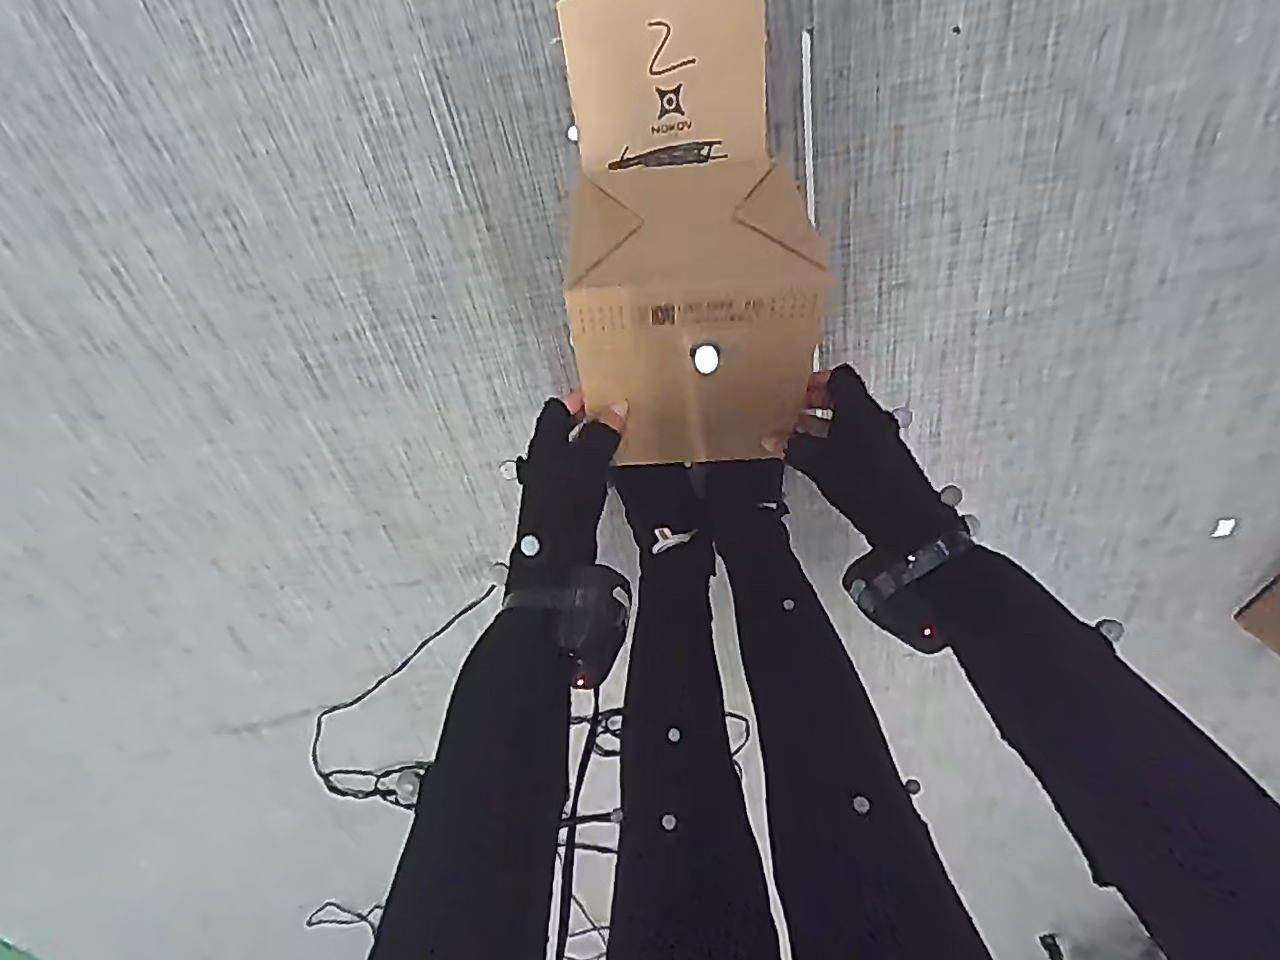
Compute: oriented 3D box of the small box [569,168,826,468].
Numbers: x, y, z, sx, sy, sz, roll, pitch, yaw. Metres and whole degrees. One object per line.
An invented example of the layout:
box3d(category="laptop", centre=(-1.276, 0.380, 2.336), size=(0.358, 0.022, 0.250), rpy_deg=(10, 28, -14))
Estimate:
box3d(category="small box", centre=(0.039, -0.131, 0.440), size=(0.168, 0.179, 0.176), rpy_deg=(-3, 142, 2))
